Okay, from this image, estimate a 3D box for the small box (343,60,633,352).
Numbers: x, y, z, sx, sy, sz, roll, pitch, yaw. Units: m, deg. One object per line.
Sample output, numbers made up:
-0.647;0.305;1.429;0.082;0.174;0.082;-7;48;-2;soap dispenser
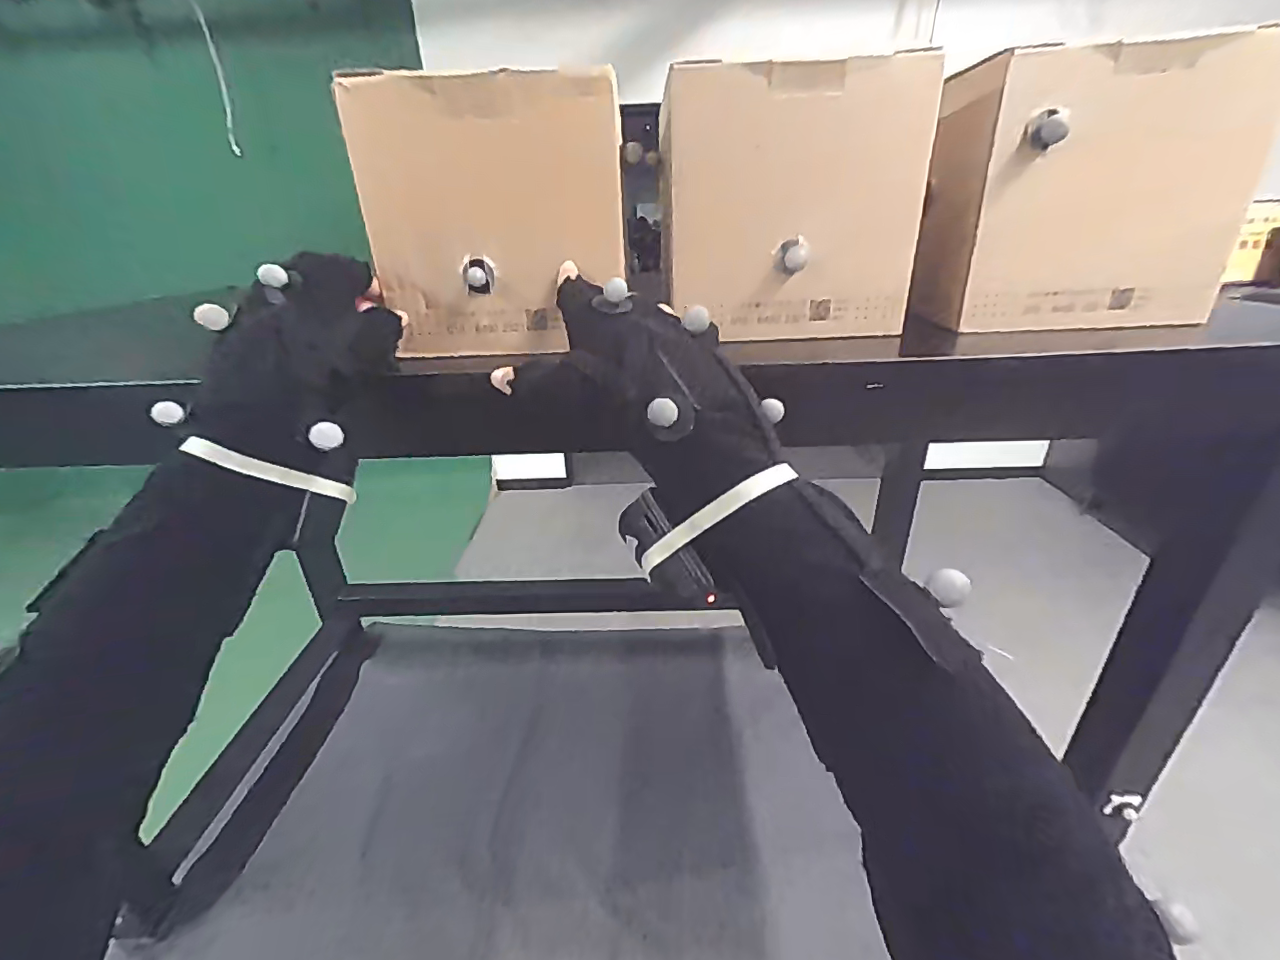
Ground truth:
-0.093;-0.201;0.423;0.168;0.176;0.179;-2;26;1;small box
